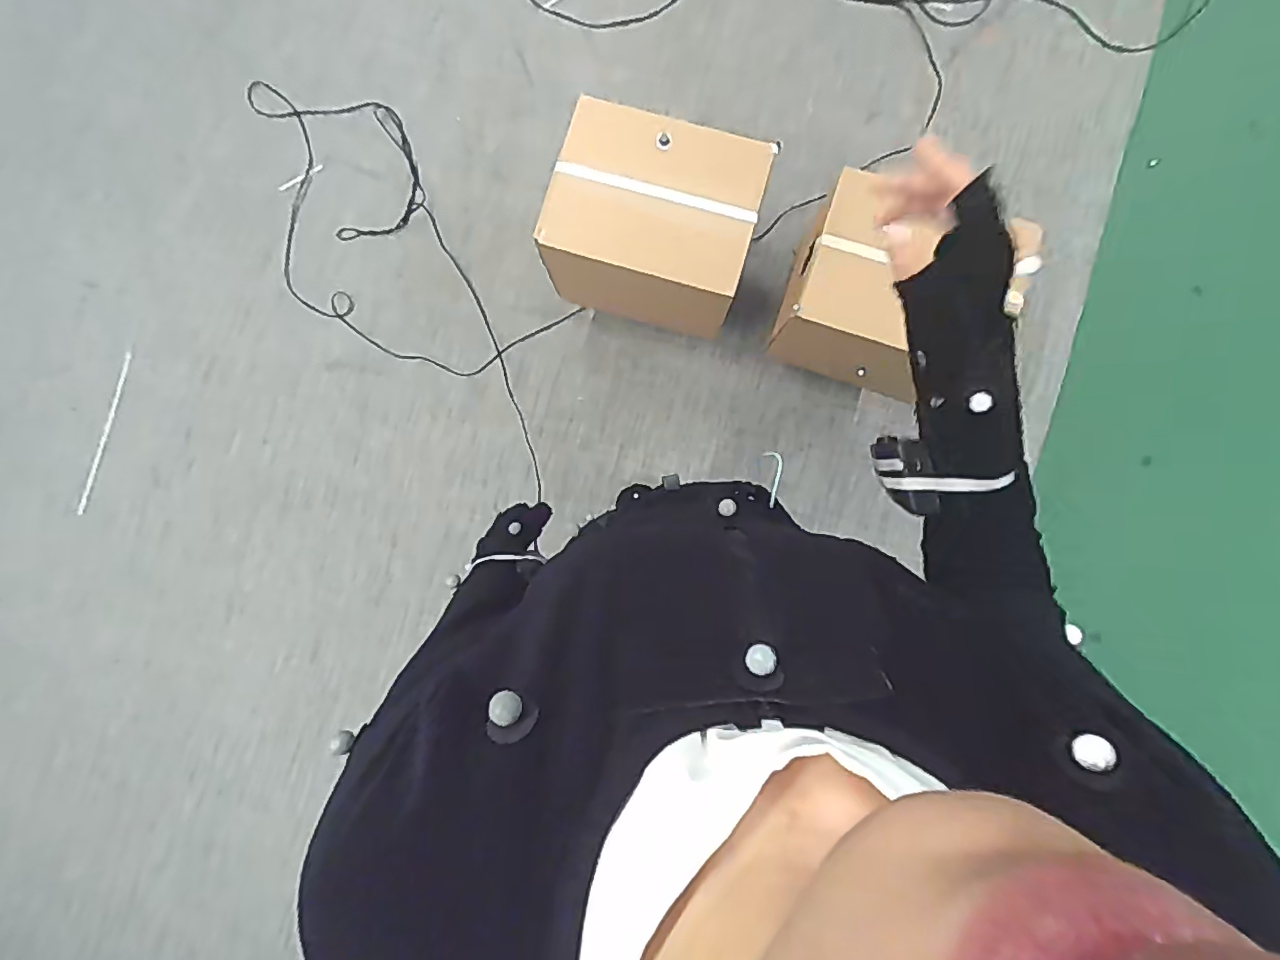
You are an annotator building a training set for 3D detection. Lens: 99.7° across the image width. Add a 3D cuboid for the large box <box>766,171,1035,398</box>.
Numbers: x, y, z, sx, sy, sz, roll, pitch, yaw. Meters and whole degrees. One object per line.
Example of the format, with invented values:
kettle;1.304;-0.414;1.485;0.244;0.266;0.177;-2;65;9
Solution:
large box;0.542;-0.403;1.202;0.408;0.320;0.320;18;88;2
